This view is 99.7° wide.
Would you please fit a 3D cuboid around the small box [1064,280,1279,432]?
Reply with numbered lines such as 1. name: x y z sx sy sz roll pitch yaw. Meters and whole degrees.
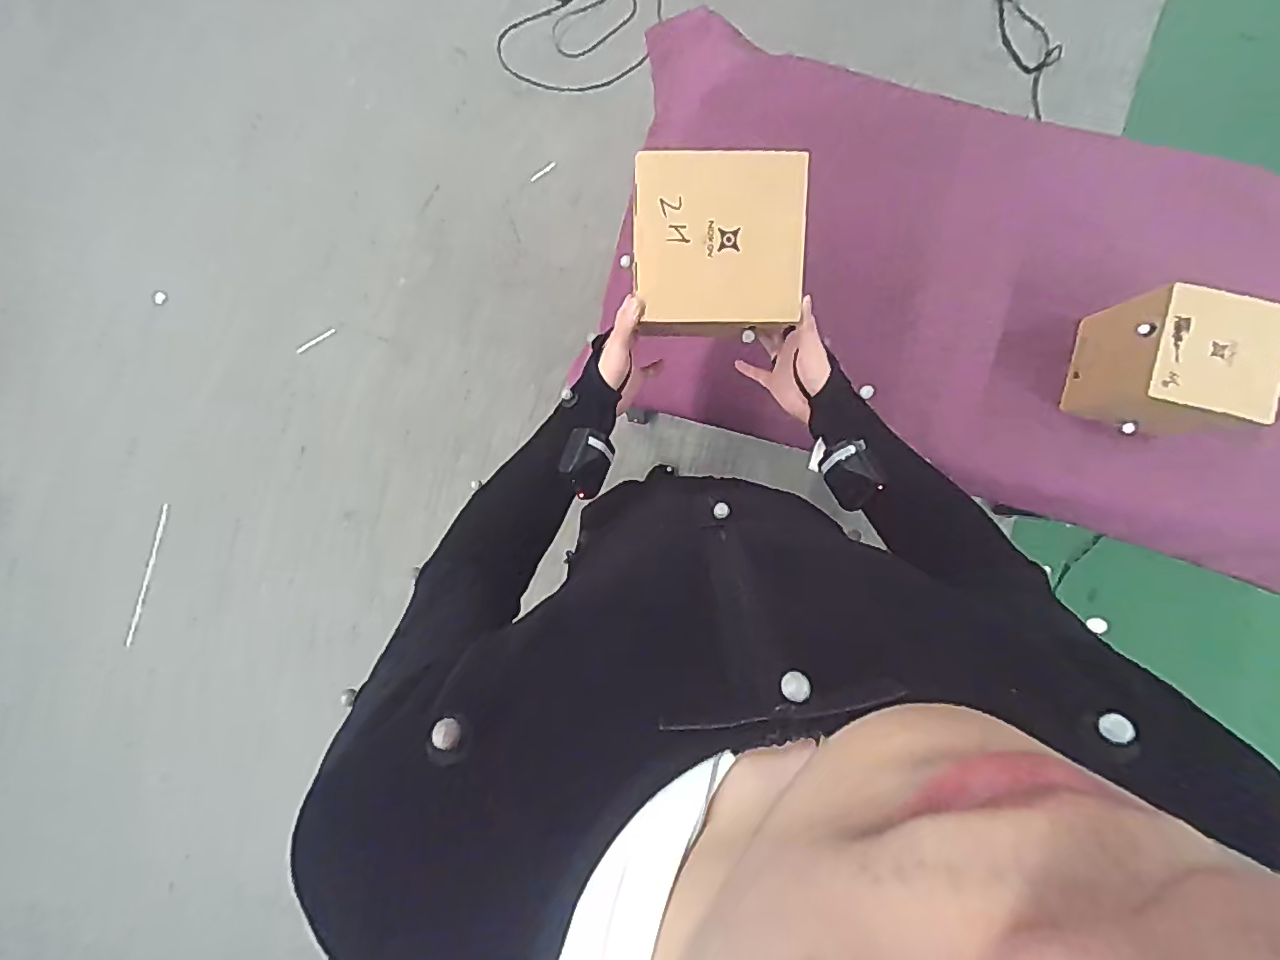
1. small box: 0.803 -0.174 0.815 0.179 0.176 0.168 15 90 2

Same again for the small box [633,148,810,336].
1. small box: 0.081 -0.262 0.631 0.179 0.176 0.168 0 99 0
